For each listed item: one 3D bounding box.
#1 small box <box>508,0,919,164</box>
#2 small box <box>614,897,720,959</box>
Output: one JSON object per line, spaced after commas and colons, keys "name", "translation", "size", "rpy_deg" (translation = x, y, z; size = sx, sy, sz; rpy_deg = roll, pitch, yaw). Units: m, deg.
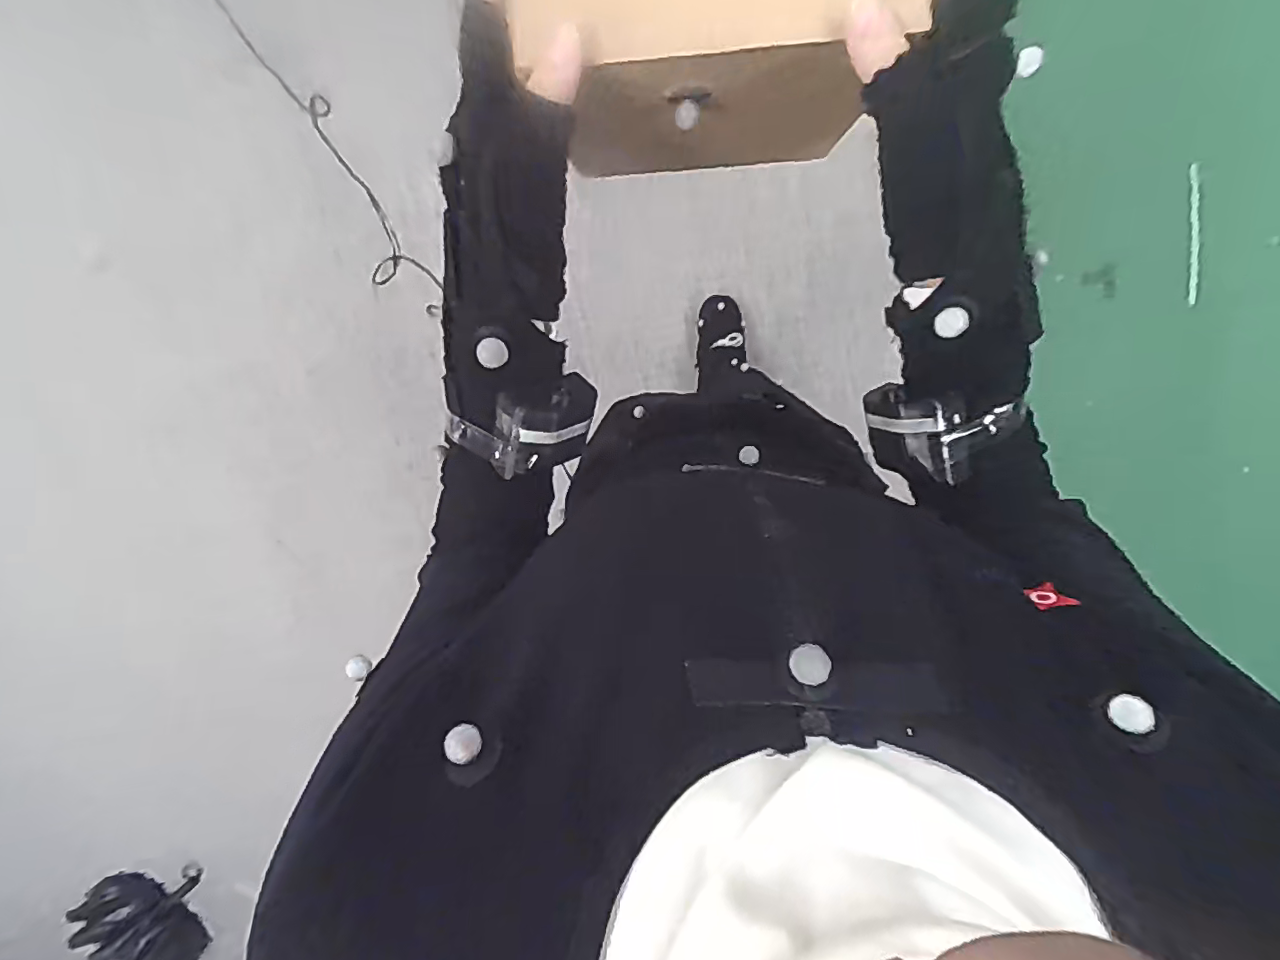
{"name": "small box", "translation": [0.032, -0.286, 0.287], "size": [0.179, 0.176, 0.168], "rpy_deg": [-3, 104, 4]}
{"name": "small box", "translation": [0.052, 0.865, 0.936], "size": [0.179, 0.176, 0.168], "rpy_deg": [-10, 101, 6]}
